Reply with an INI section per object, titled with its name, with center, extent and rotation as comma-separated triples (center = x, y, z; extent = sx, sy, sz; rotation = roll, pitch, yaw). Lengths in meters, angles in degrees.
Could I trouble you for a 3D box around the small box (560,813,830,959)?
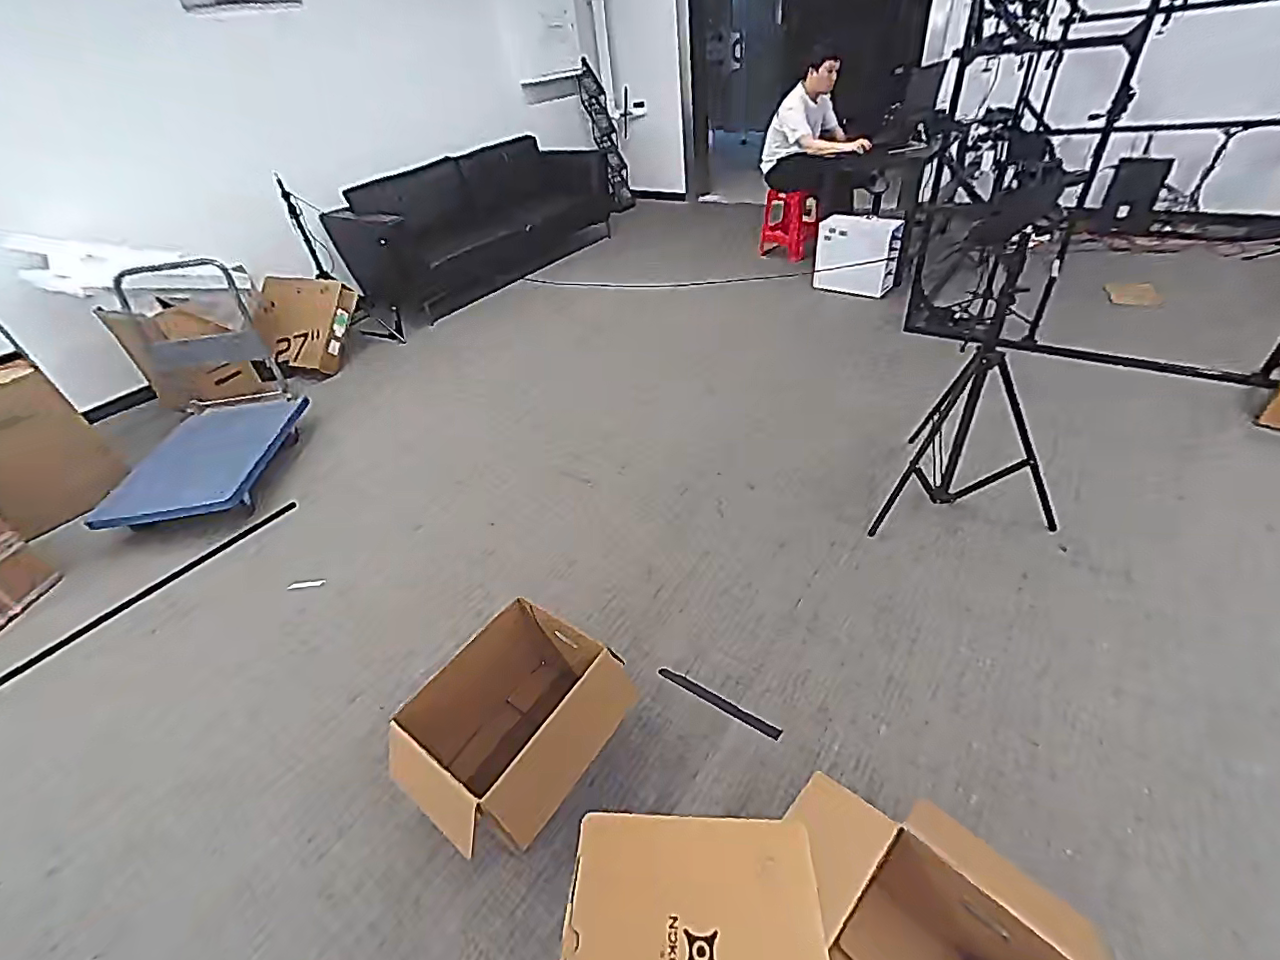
[small box]
center = 0.040, 0.373, 0.393
extent = 0.179, 0.176, 0.168
rotation = -2, 33, 6
